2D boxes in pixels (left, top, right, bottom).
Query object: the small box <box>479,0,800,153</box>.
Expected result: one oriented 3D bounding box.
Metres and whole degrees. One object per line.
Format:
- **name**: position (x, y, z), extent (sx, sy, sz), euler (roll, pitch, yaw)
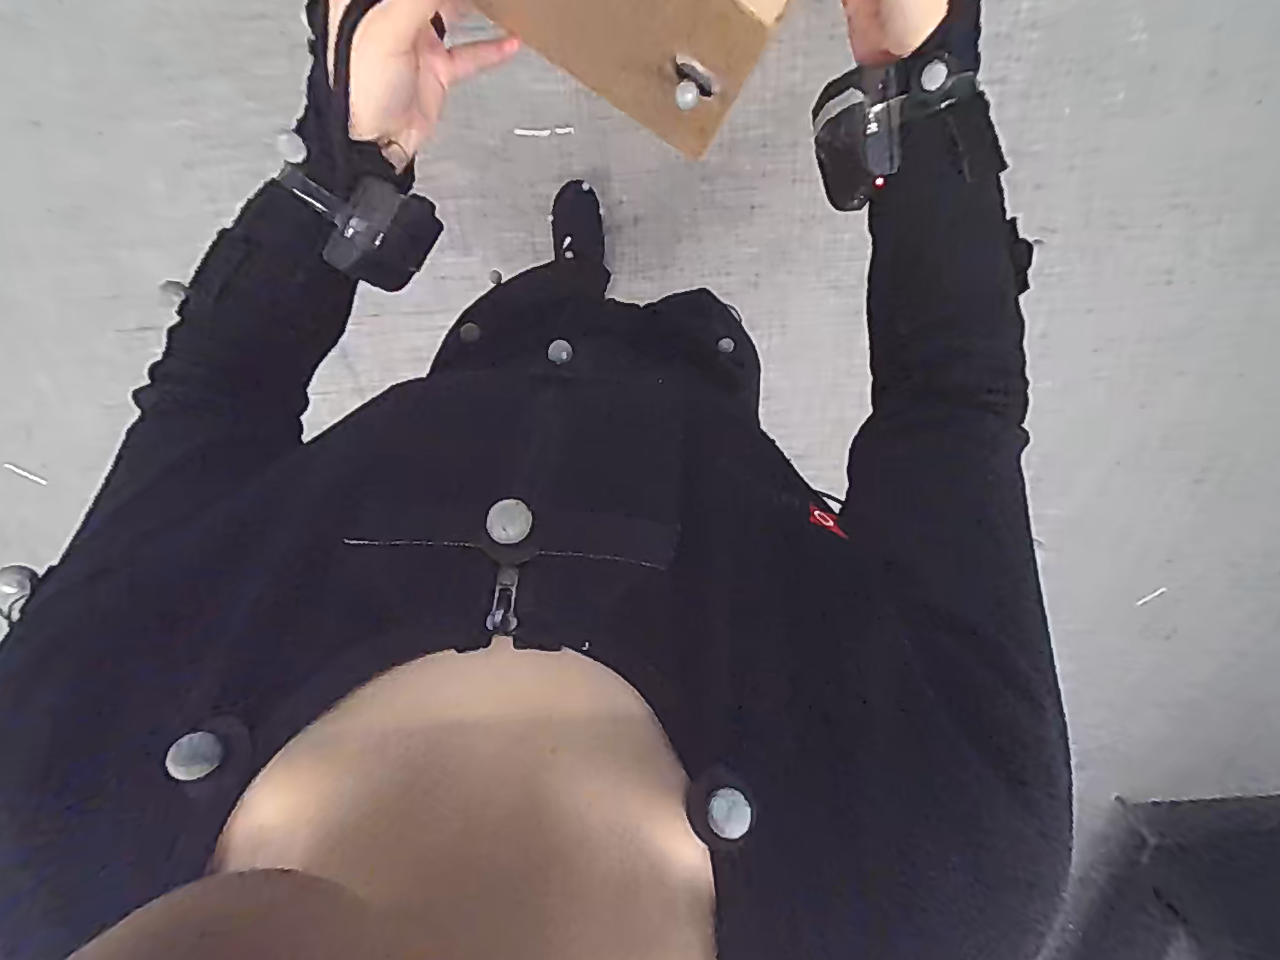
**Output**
- **small box**: position (0.017, -0.305, 0.249), extent (0.176, 0.168, 0.179), euler (28, 101, -10)
